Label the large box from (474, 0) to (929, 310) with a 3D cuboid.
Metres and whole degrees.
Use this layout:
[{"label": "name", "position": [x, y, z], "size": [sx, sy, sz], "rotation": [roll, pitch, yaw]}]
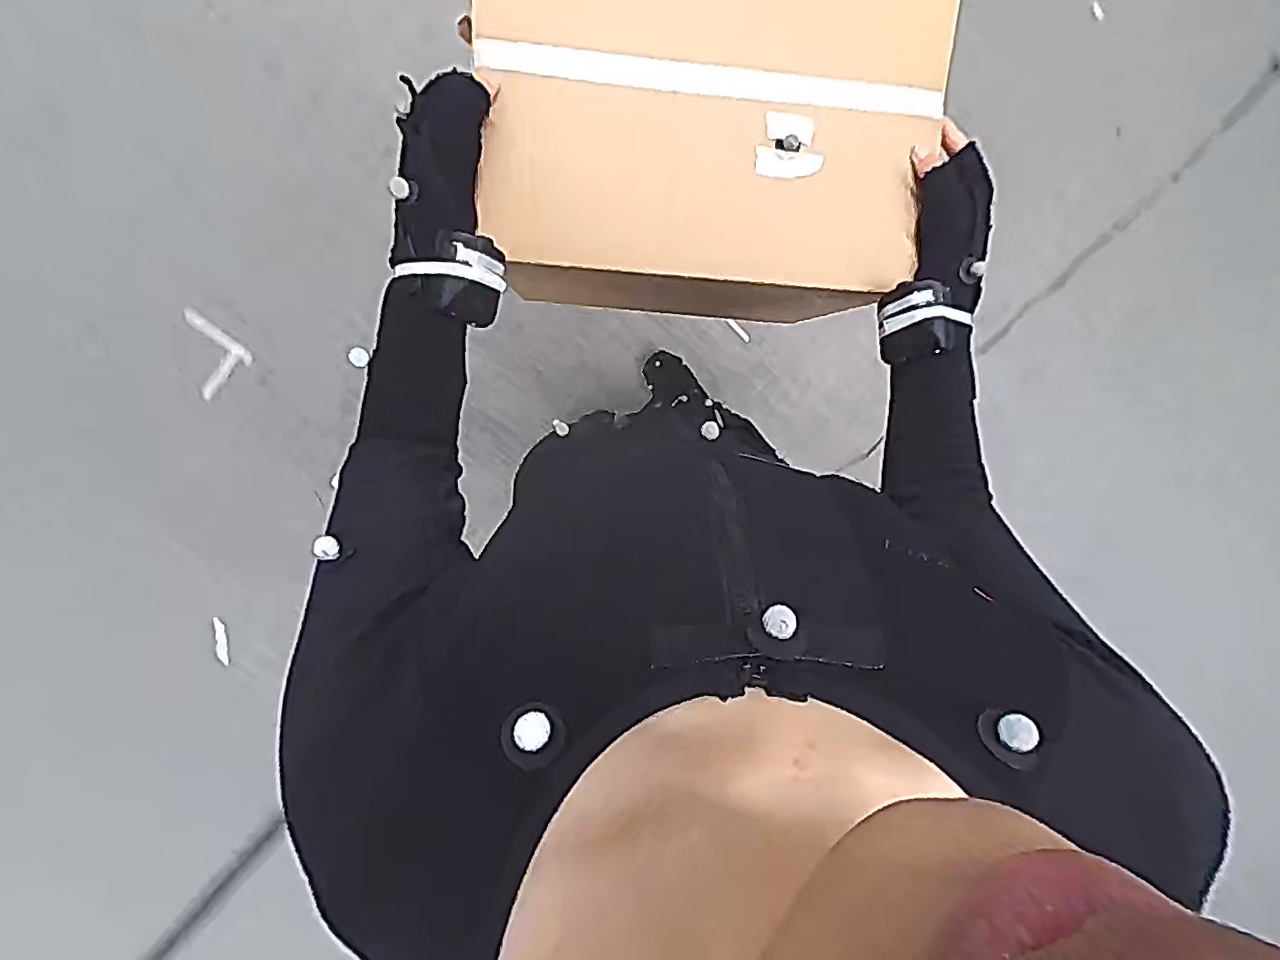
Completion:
[{"label": "large box", "position": [0.041, -0.378, 0.623], "size": [0.408, 0.320, 0.320], "rotation": [1, 102, -6]}]
